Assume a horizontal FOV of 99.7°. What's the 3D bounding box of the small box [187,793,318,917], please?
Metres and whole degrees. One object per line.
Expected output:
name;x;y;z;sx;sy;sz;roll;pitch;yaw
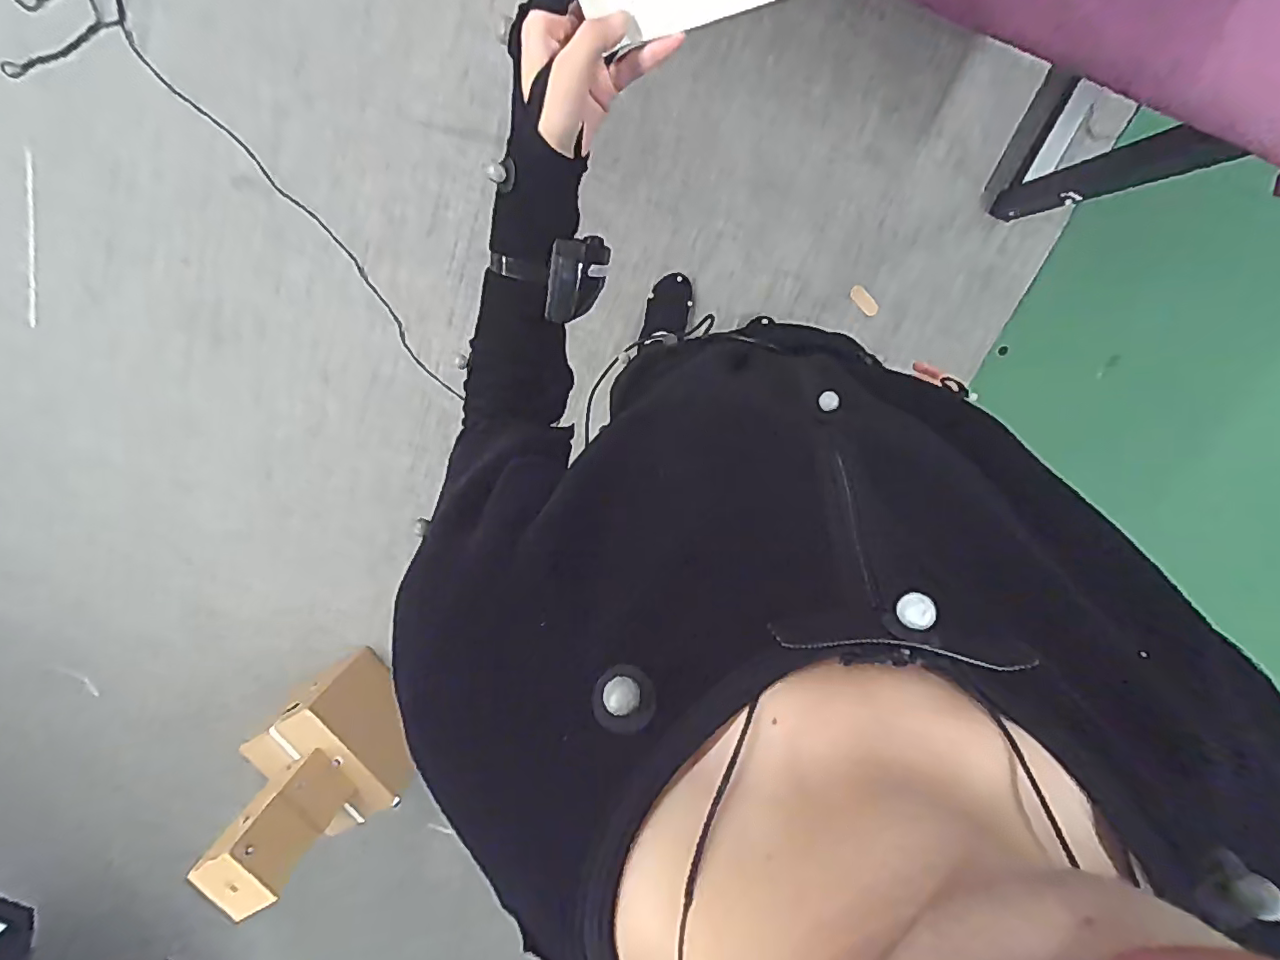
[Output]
small box;-0.977;0.952;1.382;0.168;0.176;0.179;-34;100;15
